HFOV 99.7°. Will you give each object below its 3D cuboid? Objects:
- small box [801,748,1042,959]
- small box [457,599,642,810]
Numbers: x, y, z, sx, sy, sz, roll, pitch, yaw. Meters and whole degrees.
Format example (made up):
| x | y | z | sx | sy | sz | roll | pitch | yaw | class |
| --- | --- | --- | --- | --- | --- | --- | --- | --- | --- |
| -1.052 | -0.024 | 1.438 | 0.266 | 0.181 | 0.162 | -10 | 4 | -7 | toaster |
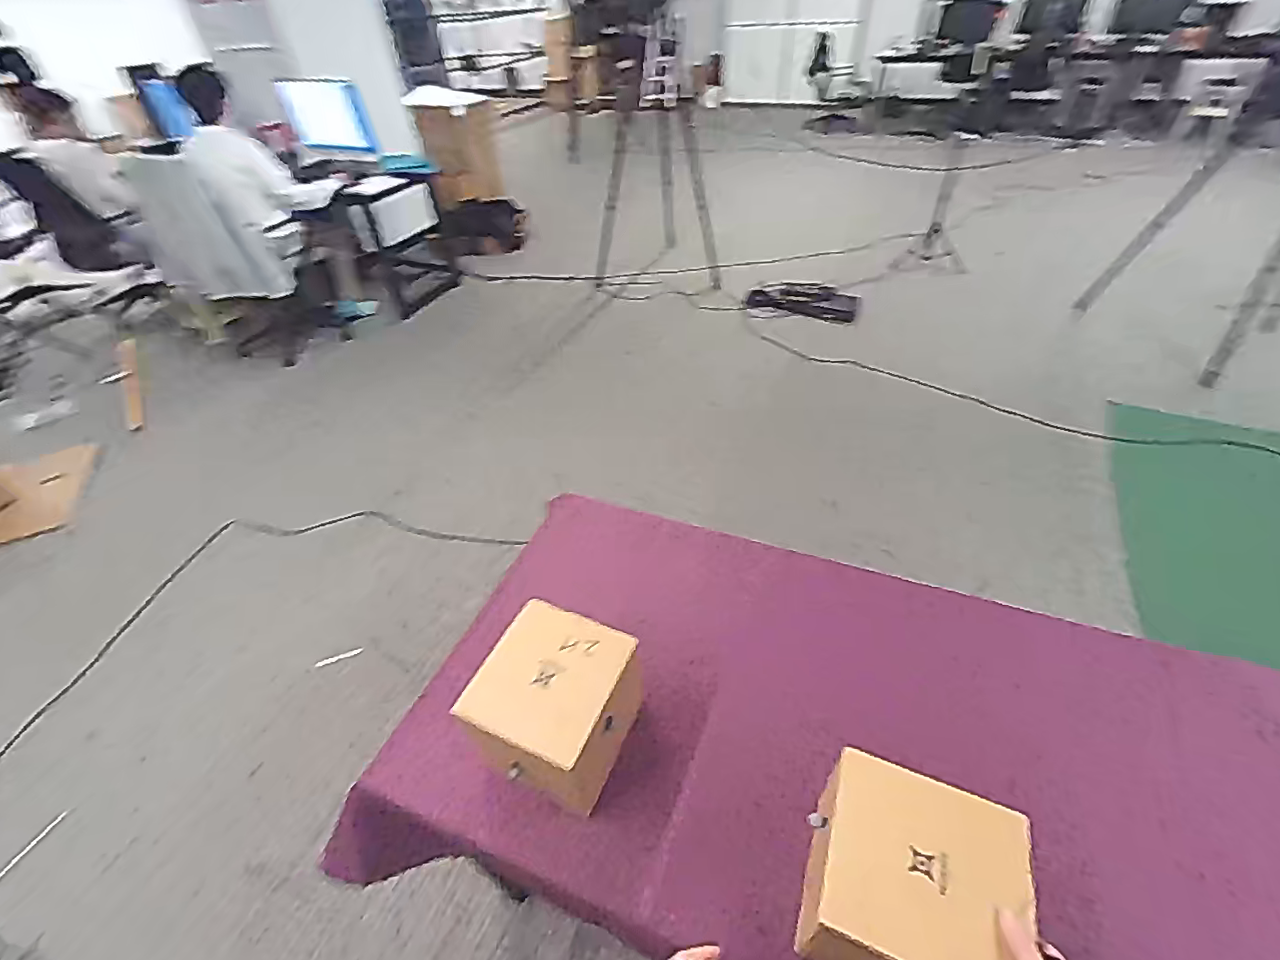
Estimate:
| x | y | z | sx | sy | sz | roll | pitch | yaw | class |
| --- | --- | --- | --- | --- | --- | --- | --- | --- | --- |
| 0.275 | 0.417 | 0.555 | 0.179 | 0.176 | 0.168 | 15 | 46 | 19 | small box |
| -0.103 | 0.297 | 0.716 | 0.168 | 0.176 | 0.179 | 16 | 46 | 20 | small box |
